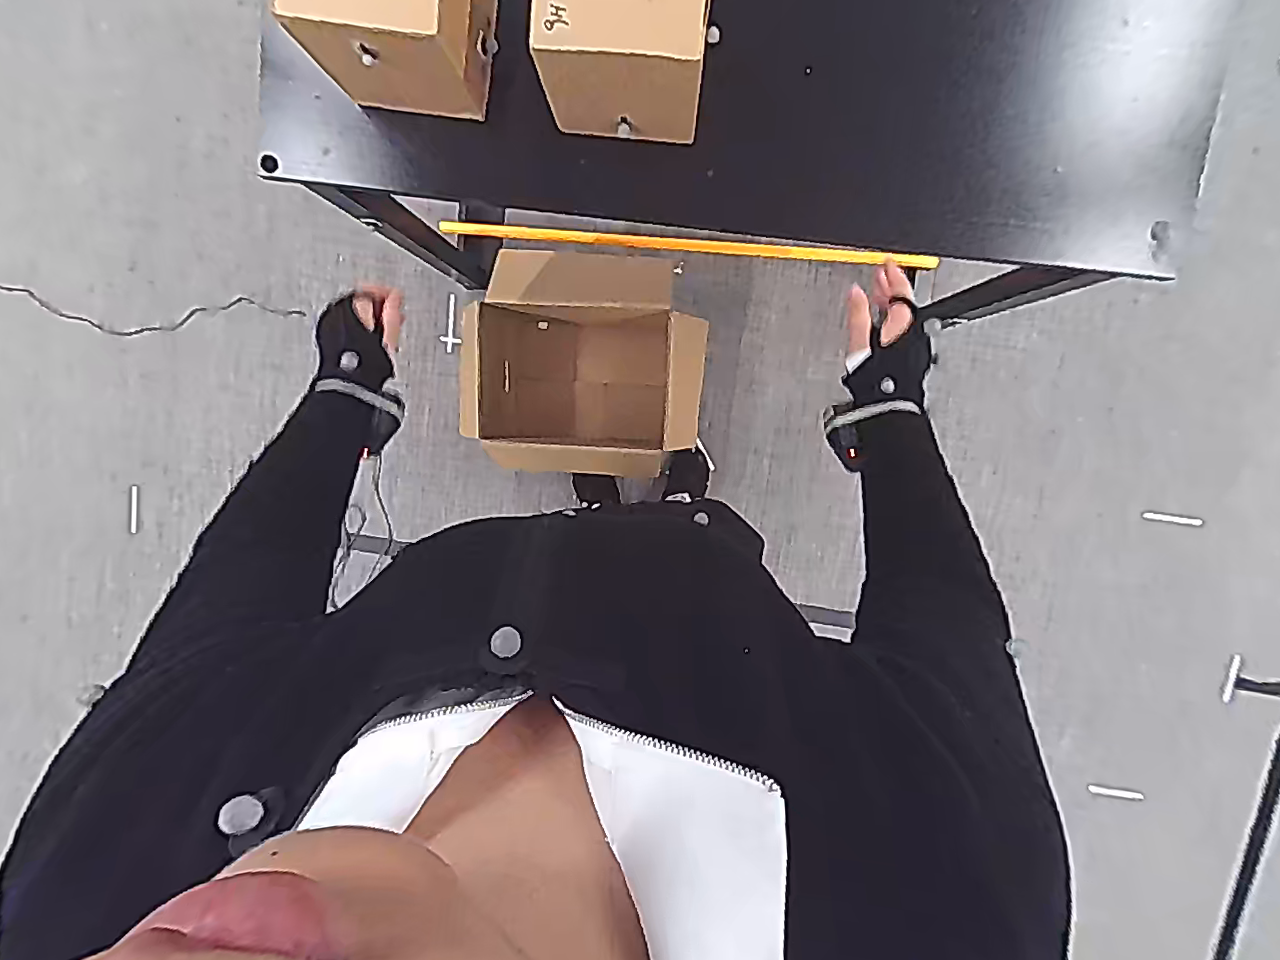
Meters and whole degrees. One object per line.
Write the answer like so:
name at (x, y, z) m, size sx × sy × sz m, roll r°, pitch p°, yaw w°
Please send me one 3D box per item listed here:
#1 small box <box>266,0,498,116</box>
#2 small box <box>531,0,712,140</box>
small box at (-0.275, -0.544, 0.607) m, size 0.179 × 0.176 × 0.168 m, roll 8°, pitch 98°, yaw -1°
small box at (-0.014, -0.509, 0.603) m, size 0.179 × 0.176 × 0.168 m, roll 6°, pitch 97°, yaw 0°
